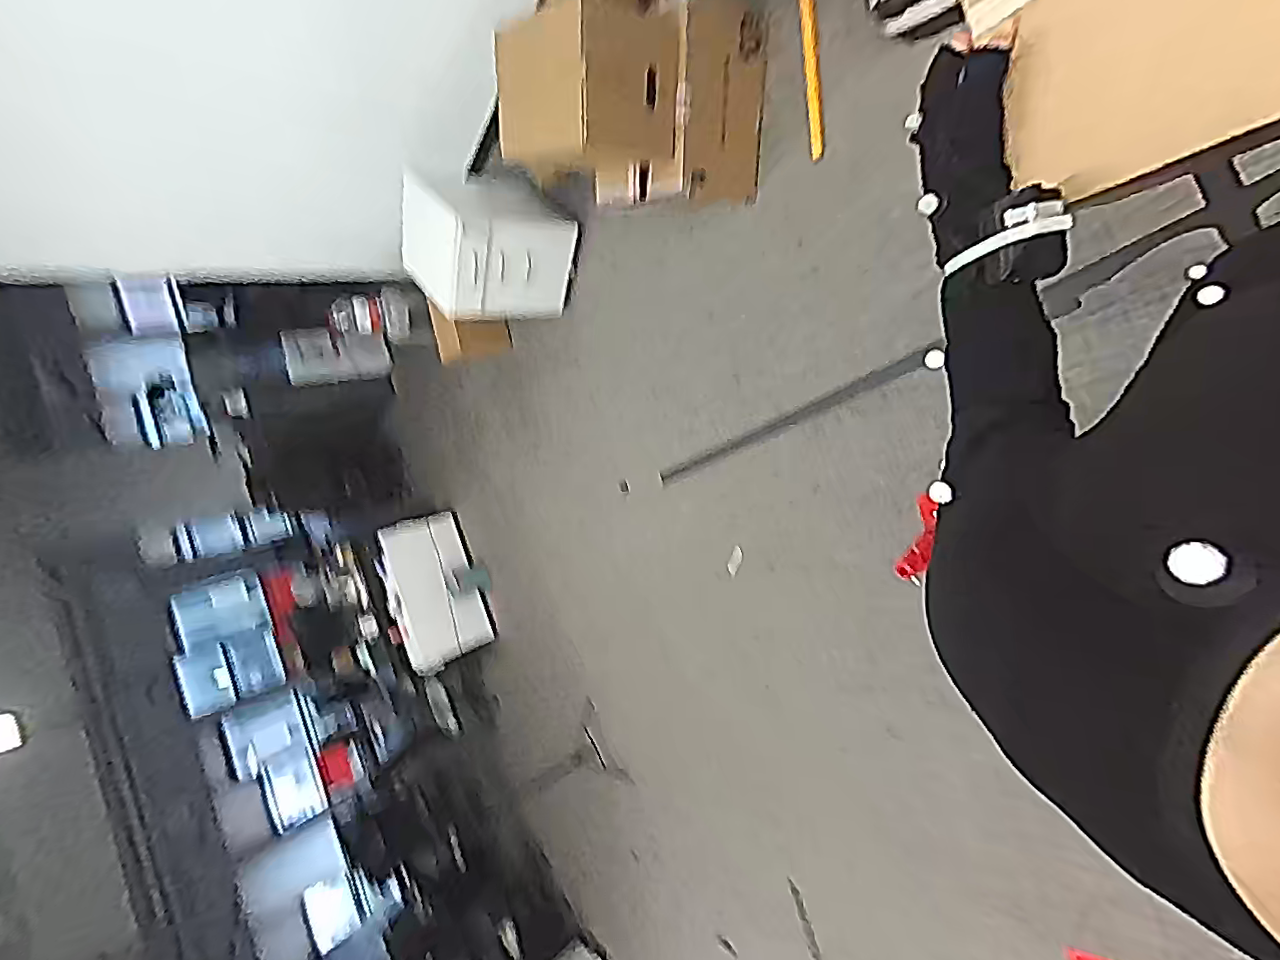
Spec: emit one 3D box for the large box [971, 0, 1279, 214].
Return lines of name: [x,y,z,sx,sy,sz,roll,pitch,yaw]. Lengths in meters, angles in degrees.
large box: [0.492,-0.426,0.359,0.408,0.320,0.320,-8,104,52]

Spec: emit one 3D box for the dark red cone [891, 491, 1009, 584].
dark red cone: [0.717,0.171,1.316,0.201,0.394,0.202,-17,90,51]

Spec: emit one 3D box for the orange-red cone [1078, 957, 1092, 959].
orange-red cone: [1.144,1.399,1.284,0.198,0.360,0.199,-30,81,52]
